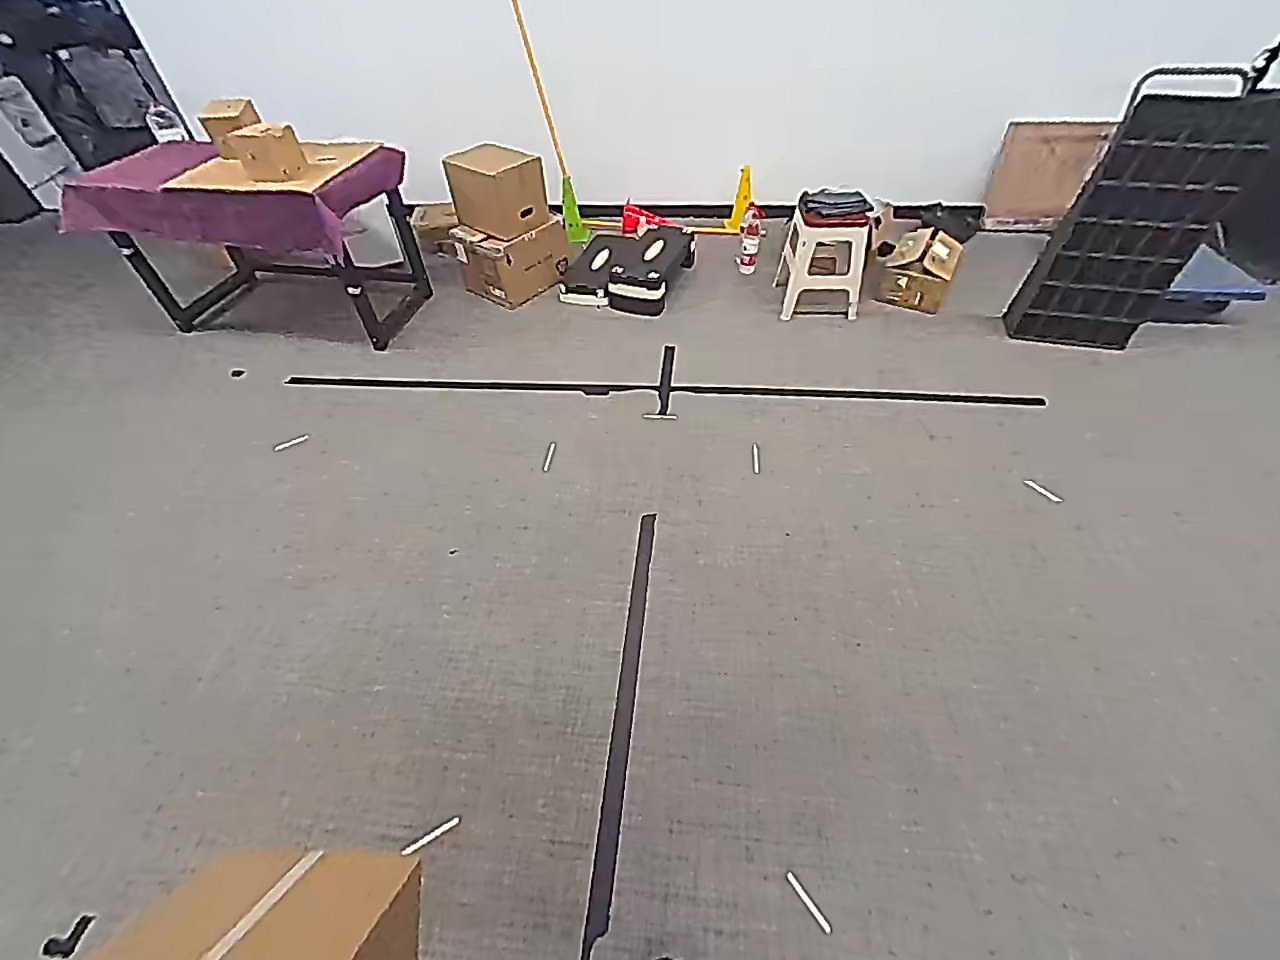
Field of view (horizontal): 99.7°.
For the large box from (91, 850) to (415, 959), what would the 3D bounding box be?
[{"bbox_3d":[-0.502,0.720,0.636,0.320,0.408,0.320,-1,86,2],"label":"large box"}]
